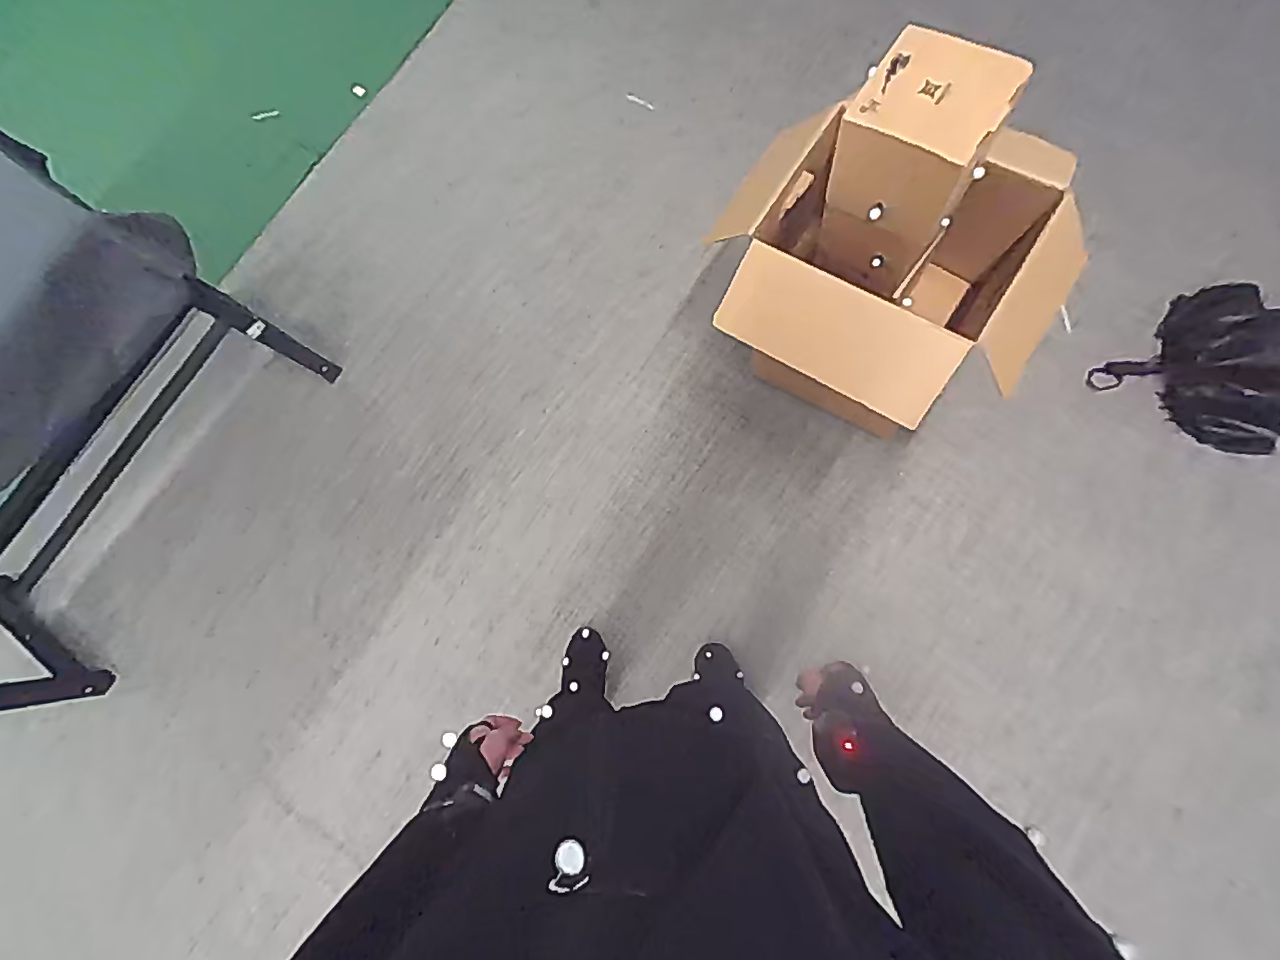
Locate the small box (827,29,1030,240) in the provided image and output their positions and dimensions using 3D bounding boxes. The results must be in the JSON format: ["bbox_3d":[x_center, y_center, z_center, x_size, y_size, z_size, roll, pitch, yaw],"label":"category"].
[{"bbox_3d":[0.399,-0.485,0.784,0.179,0.176,0.168,34,86,15],"label":"small box"}]
